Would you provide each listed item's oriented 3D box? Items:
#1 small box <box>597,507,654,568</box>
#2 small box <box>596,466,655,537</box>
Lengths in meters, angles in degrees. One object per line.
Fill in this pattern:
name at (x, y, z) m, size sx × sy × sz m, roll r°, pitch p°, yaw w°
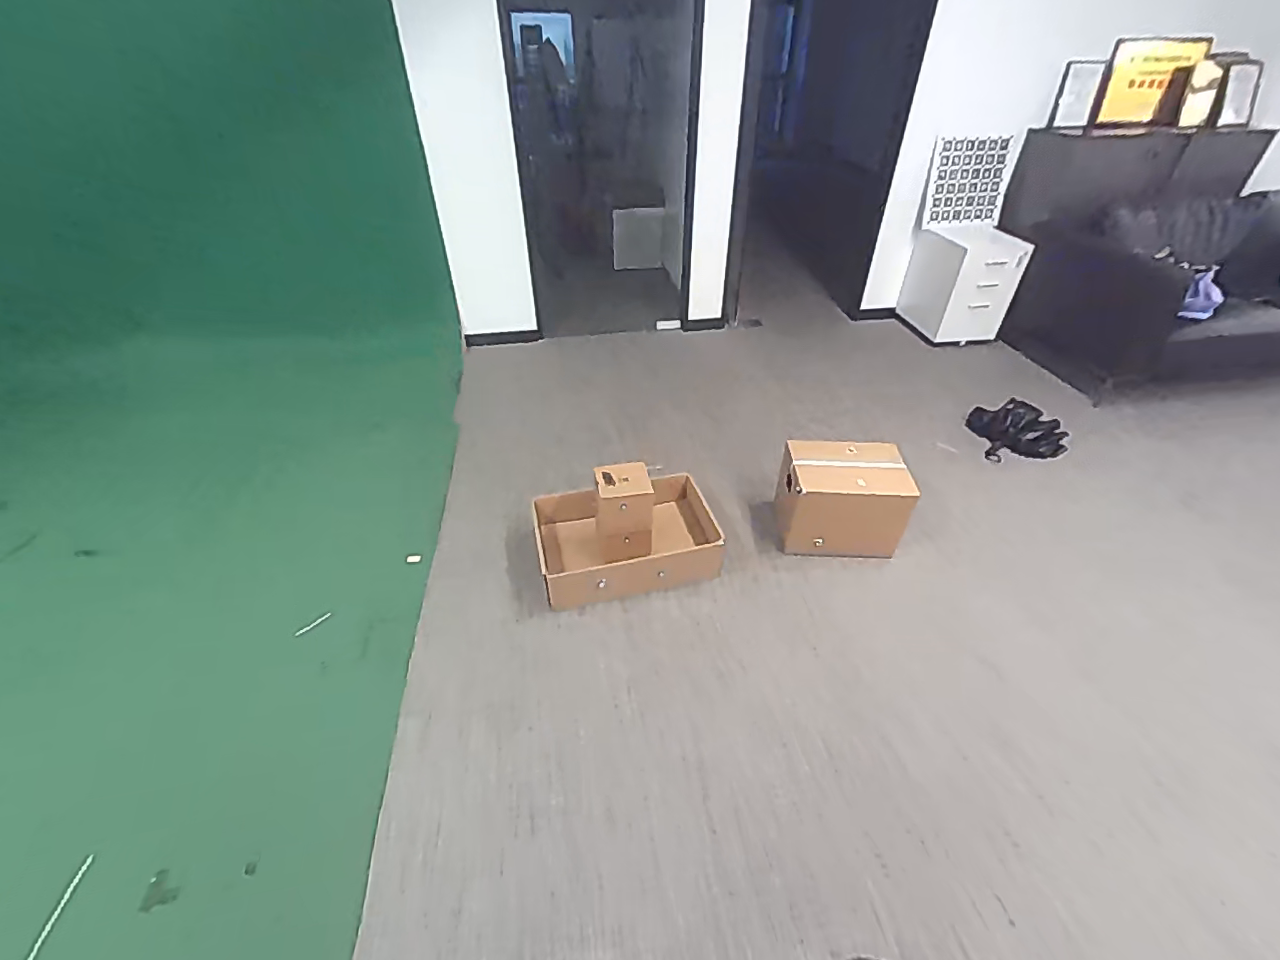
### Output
small box at (-0.053, 0.197, 1.933) m, size 0.179 × 0.176 × 0.168 m, roll -8°, pitch 40°, yaw -12°
small box at (-0.049, 0.076, 1.822) m, size 0.179 × 0.176 × 0.168 m, roll -6°, pitch 39°, yaw -9°
